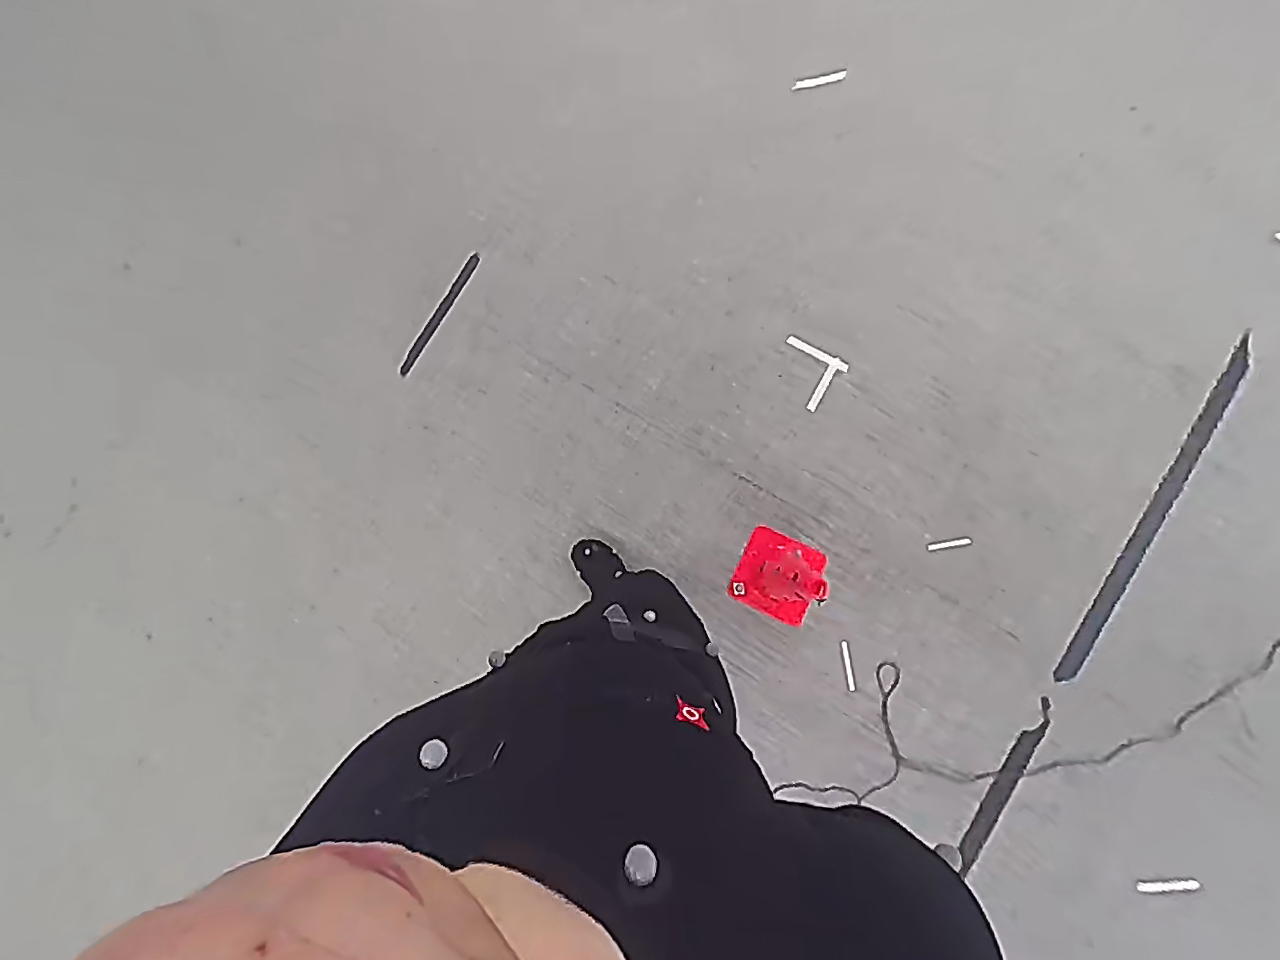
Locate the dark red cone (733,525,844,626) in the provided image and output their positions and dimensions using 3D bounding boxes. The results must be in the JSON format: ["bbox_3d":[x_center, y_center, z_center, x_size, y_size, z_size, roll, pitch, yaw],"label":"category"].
[{"bbox_3d":[0.344,0.210,1.147,0.201,0.394,0.202,24,85,4],"label":"dark red cone"}]
